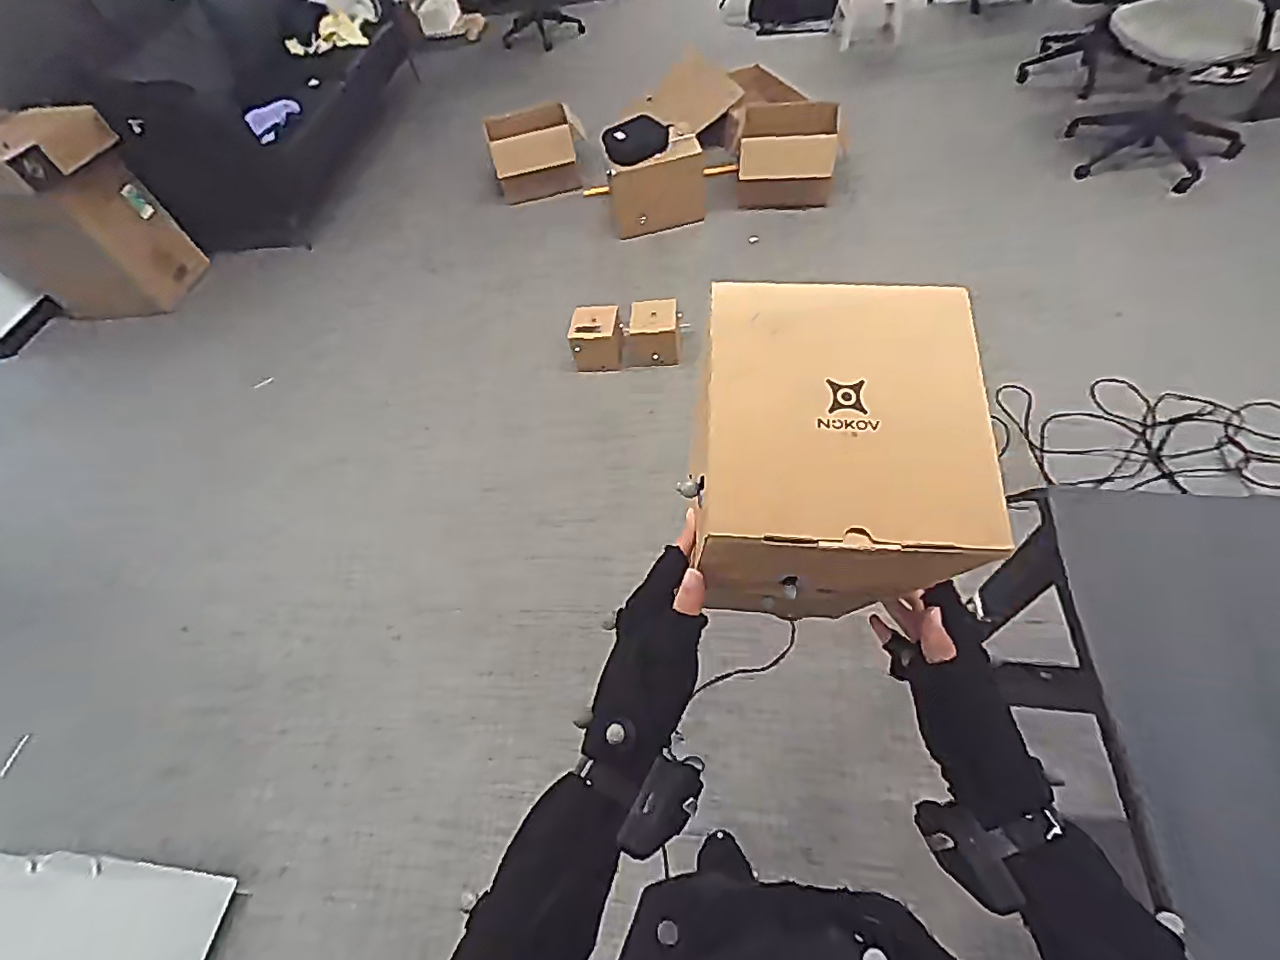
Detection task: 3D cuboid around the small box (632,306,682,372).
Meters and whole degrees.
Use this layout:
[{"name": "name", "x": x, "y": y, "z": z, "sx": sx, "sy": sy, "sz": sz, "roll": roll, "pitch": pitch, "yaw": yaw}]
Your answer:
[{"name": "small box", "x": 0.069, "y": -0.528, "z": 2.027, "sx": 0.168, "sy": 0.176, "sz": 0.179, "roll": -1, "pitch": 55, "yaw": 9}]

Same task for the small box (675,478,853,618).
[{"name": "small box", "x": 0.128, "y": 0.043, "z": 0.552, "sx": 0.179, "sy": 0.176, "sz": 0.168, "roll": 4, "pitch": 69, "yaw": 3}]

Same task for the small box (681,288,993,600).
[{"name": "small box", "x": 0.117, "y": -0.015, "z": 0.401, "sx": 0.168, "sy": 0.176, "sz": 0.179, "roll": 2, "pitch": 70, "yaw": 3}]
